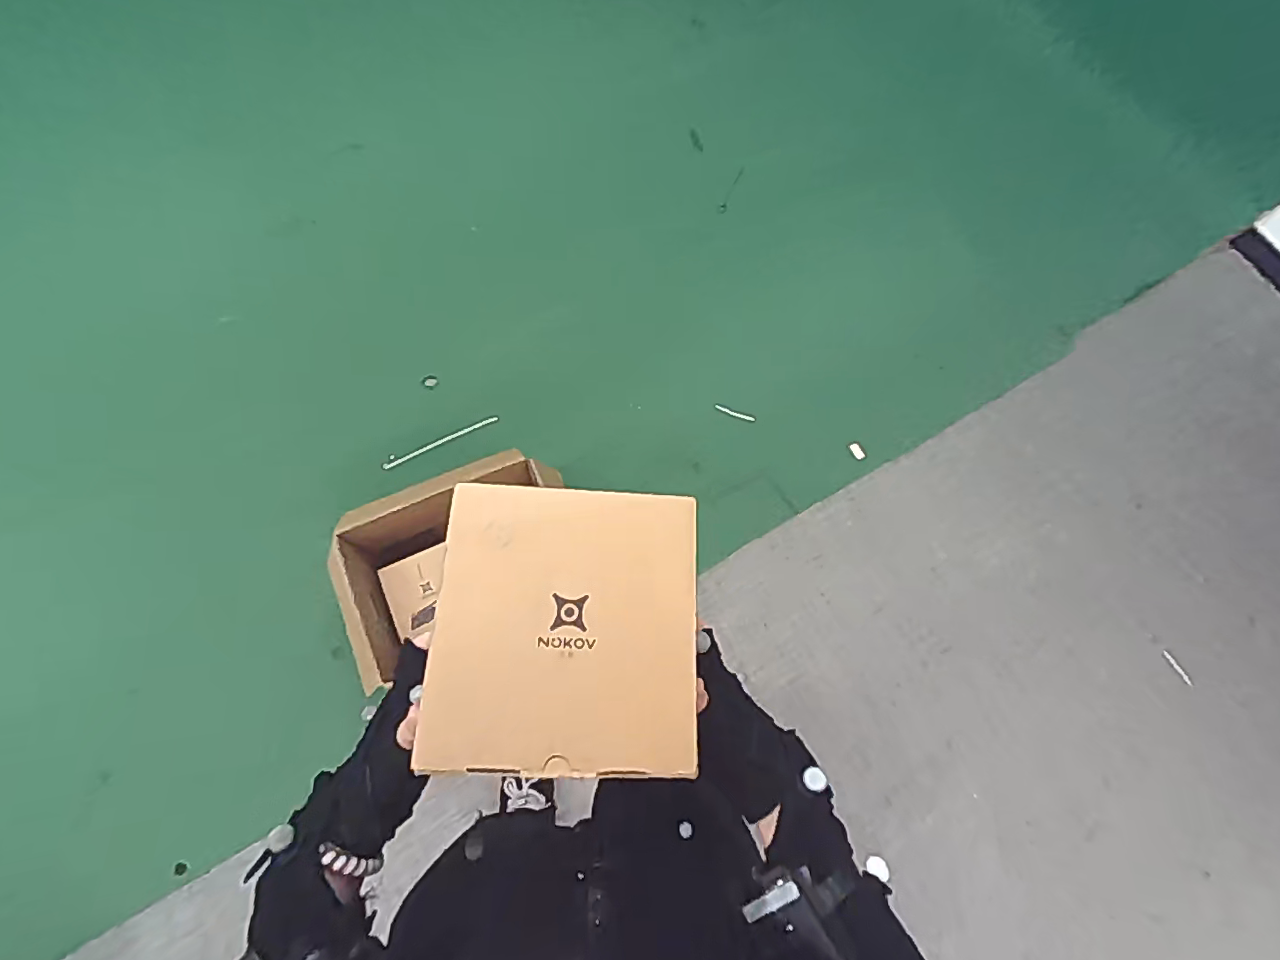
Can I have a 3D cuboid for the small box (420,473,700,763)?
[{"bbox_3d":[-0.053,0.109,0.418,0.168,0.176,0.179,4,70,-6],"label":"small box"}]
